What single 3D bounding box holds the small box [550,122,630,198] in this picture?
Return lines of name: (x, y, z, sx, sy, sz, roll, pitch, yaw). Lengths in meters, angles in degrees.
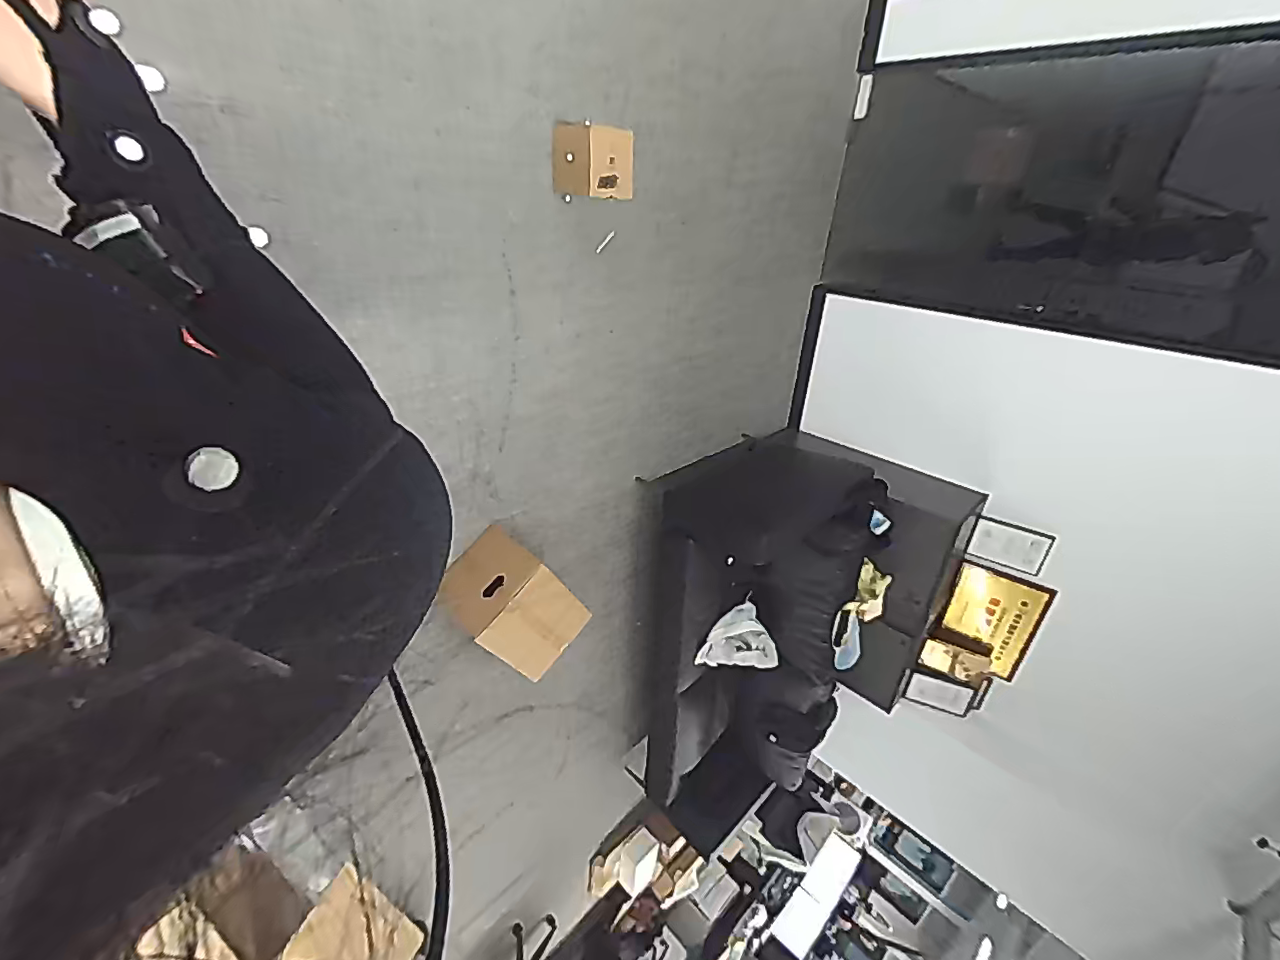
small box: (-0.151, -0.933, 1.581, 0.168, 0.176, 0.179, -22, 127, -40)
